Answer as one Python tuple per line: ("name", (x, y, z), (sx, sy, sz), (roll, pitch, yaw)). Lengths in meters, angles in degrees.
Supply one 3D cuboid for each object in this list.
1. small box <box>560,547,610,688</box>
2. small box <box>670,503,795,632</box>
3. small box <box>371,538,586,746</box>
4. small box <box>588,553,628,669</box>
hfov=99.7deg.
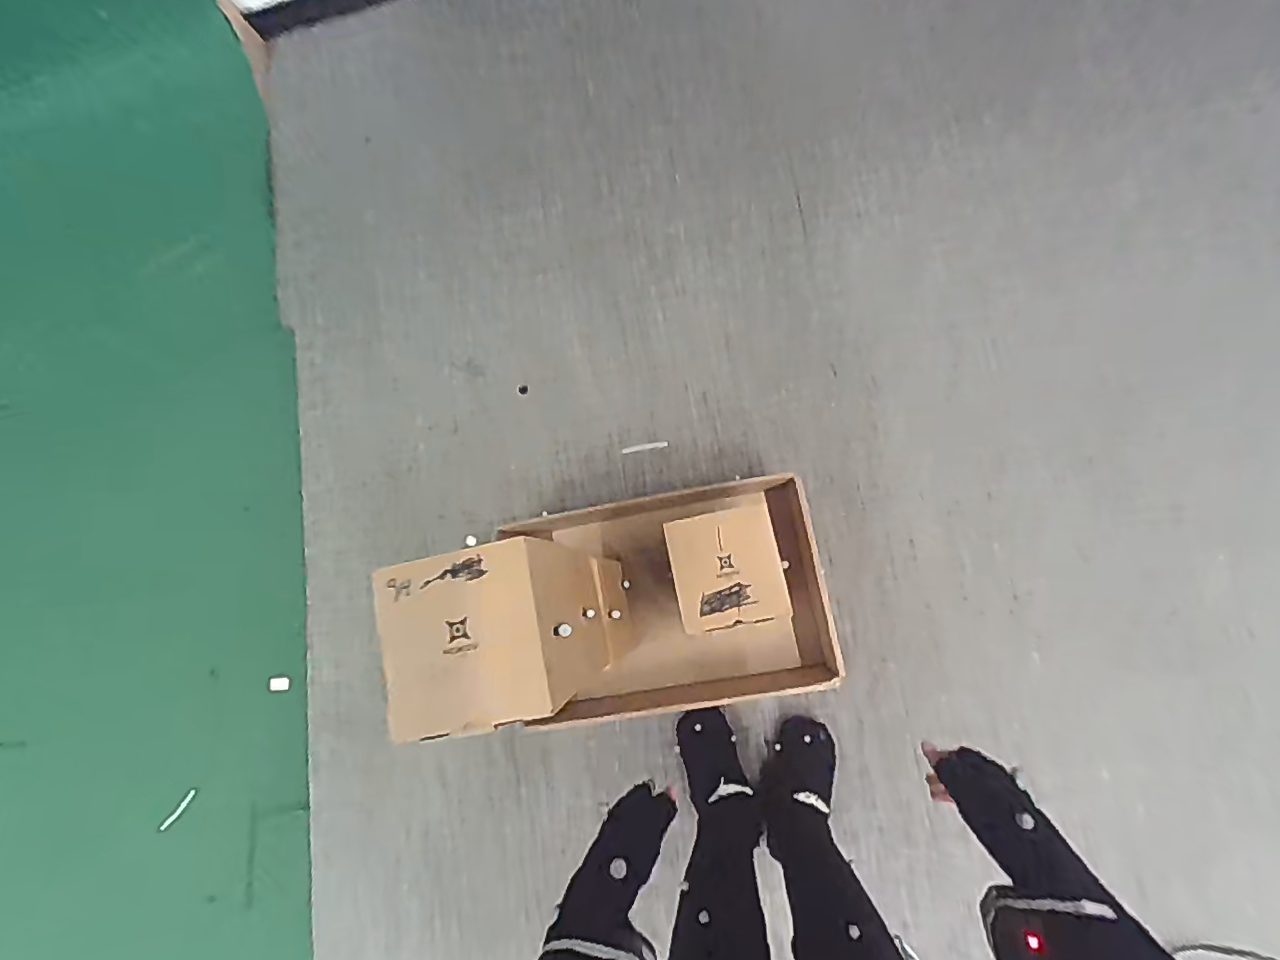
("small box", (-0.146, 0.196, 0.762), (0.168, 0.176, 0.179), (-12, 79, 4))
("small box", (0.148, 0.140, 0.887), (0.168, 0.176, 0.179), (-9, 80, 6))
("small box", (-0.166, 0.166, 0.601), (0.168, 0.176, 0.179), (-12, 80, 4))
("small box", (-0.121, 0.226, 0.920), (0.168, 0.176, 0.179), (-11, 80, 5))
